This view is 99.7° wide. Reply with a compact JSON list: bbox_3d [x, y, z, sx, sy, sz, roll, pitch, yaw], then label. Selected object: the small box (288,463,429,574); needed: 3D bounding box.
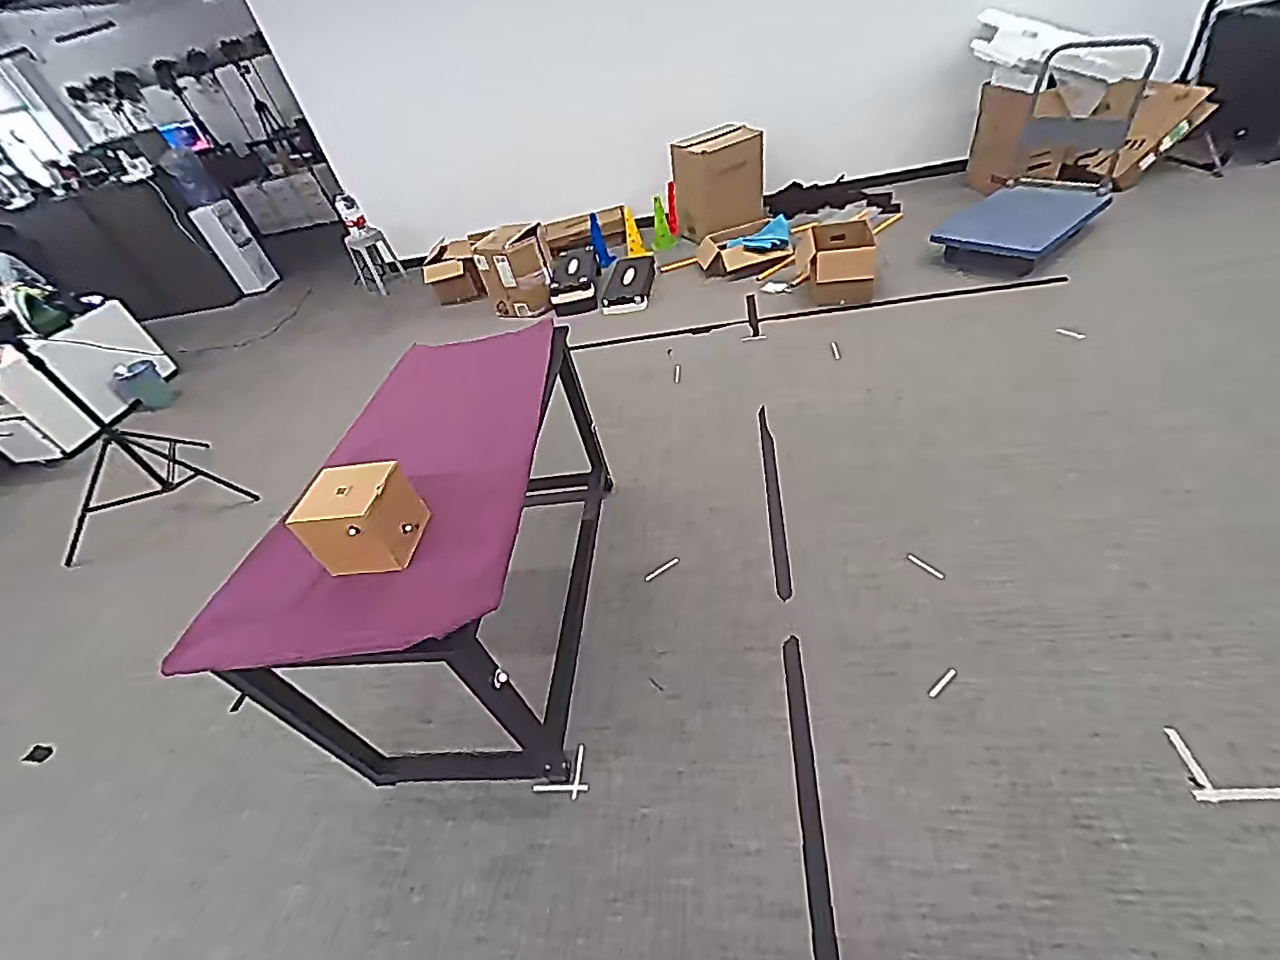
[{"bbox_3d":[-0.587,0.086,1.151,0.179,0.176,0.168,-6,42,8],"label":"small box"}]
